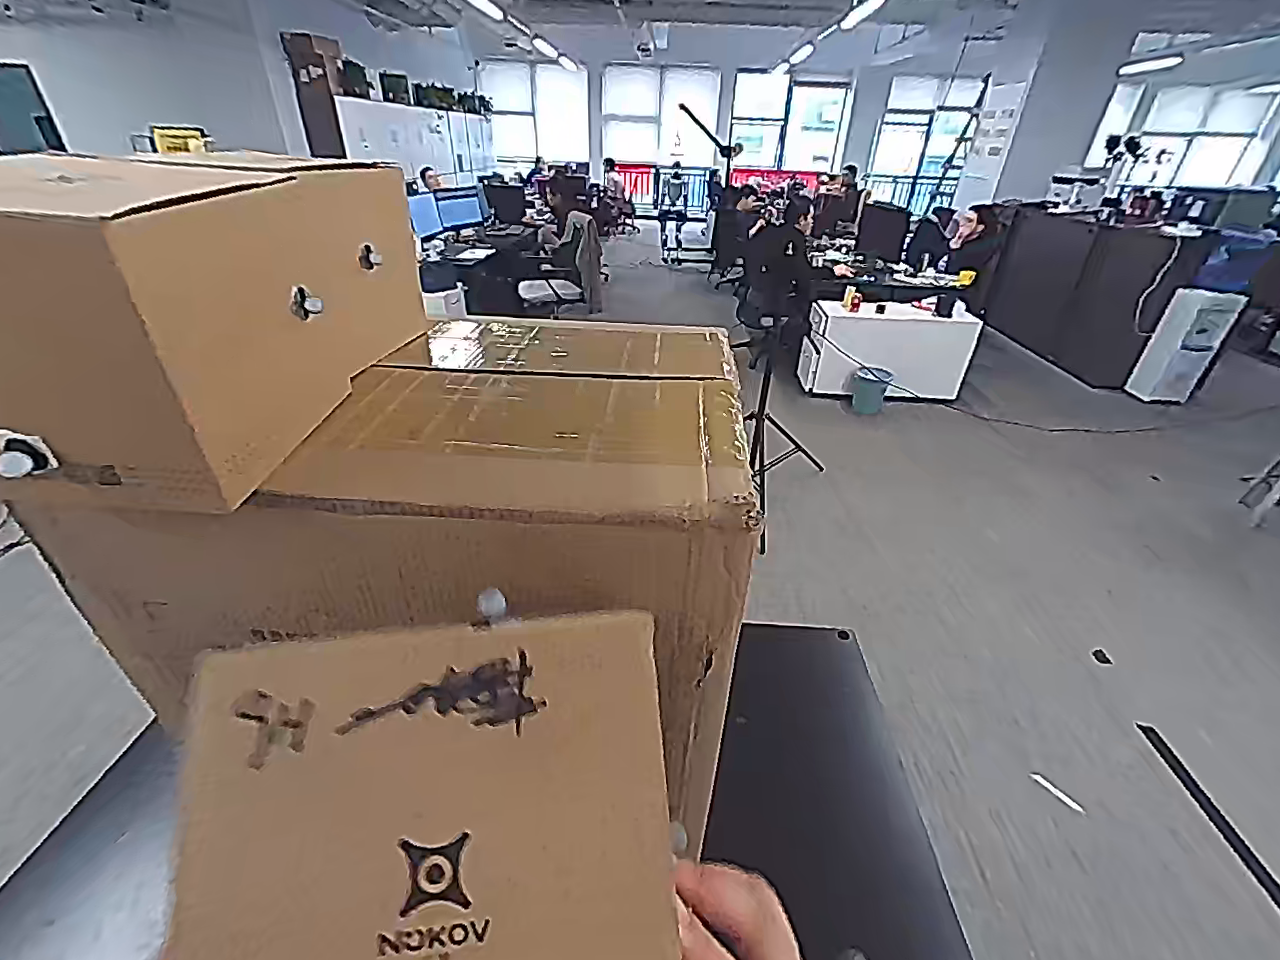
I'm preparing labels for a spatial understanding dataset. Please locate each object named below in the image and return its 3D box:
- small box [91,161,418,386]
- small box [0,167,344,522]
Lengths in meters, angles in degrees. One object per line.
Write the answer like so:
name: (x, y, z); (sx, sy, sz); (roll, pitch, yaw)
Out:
small box: (-0.330, -0.199, 0.513); (0.168, 0.176, 0.179); (5, 32, 4)
small box: (-0.320, -0.094, 0.352); (0.168, 0.176, 0.179); (2, 36, -3)
